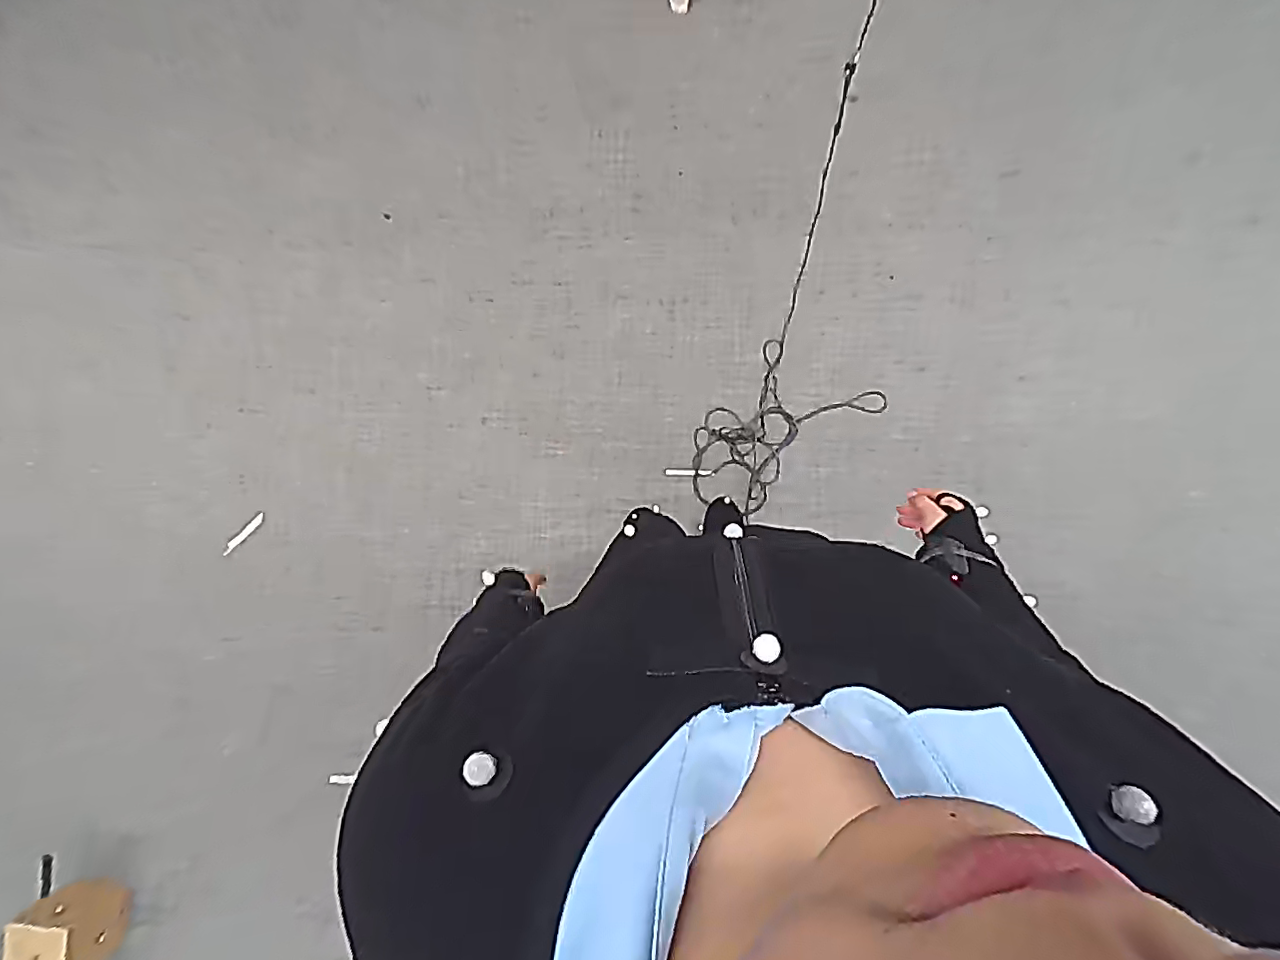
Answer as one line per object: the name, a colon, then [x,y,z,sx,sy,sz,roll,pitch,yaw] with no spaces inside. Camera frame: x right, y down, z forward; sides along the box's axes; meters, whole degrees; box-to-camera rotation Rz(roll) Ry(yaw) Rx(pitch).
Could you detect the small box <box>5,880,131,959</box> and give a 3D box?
small box: [-1.557,1.238,1.479,0.179,0.176,0.168,3,86,5]
